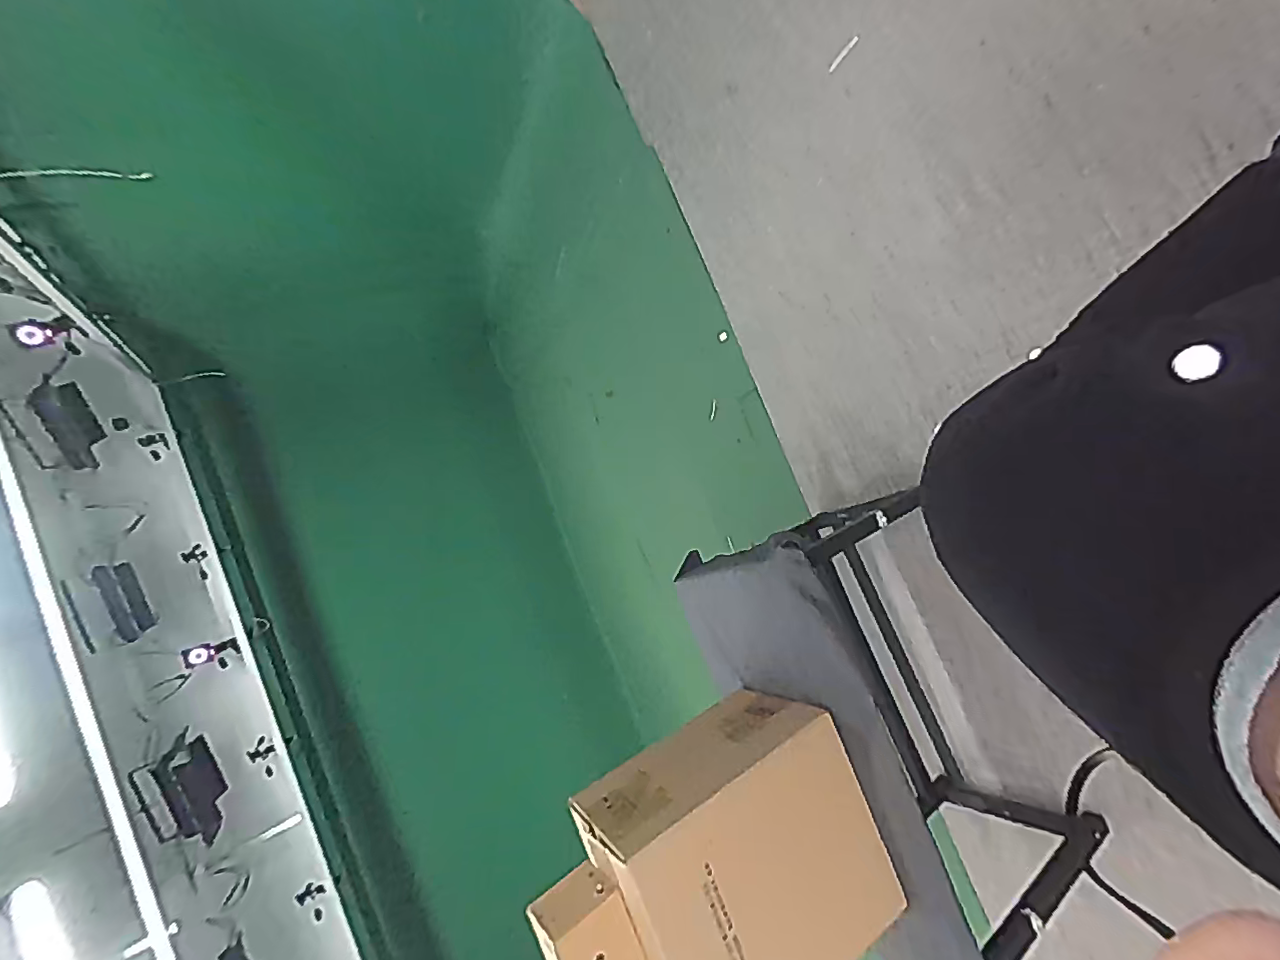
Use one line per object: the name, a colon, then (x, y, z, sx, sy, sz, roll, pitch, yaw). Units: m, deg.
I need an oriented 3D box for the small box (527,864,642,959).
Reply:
small box: (-0.124, 1.014, 1.208, 0.168, 0.176, 0.179, -24, 88, 58)
